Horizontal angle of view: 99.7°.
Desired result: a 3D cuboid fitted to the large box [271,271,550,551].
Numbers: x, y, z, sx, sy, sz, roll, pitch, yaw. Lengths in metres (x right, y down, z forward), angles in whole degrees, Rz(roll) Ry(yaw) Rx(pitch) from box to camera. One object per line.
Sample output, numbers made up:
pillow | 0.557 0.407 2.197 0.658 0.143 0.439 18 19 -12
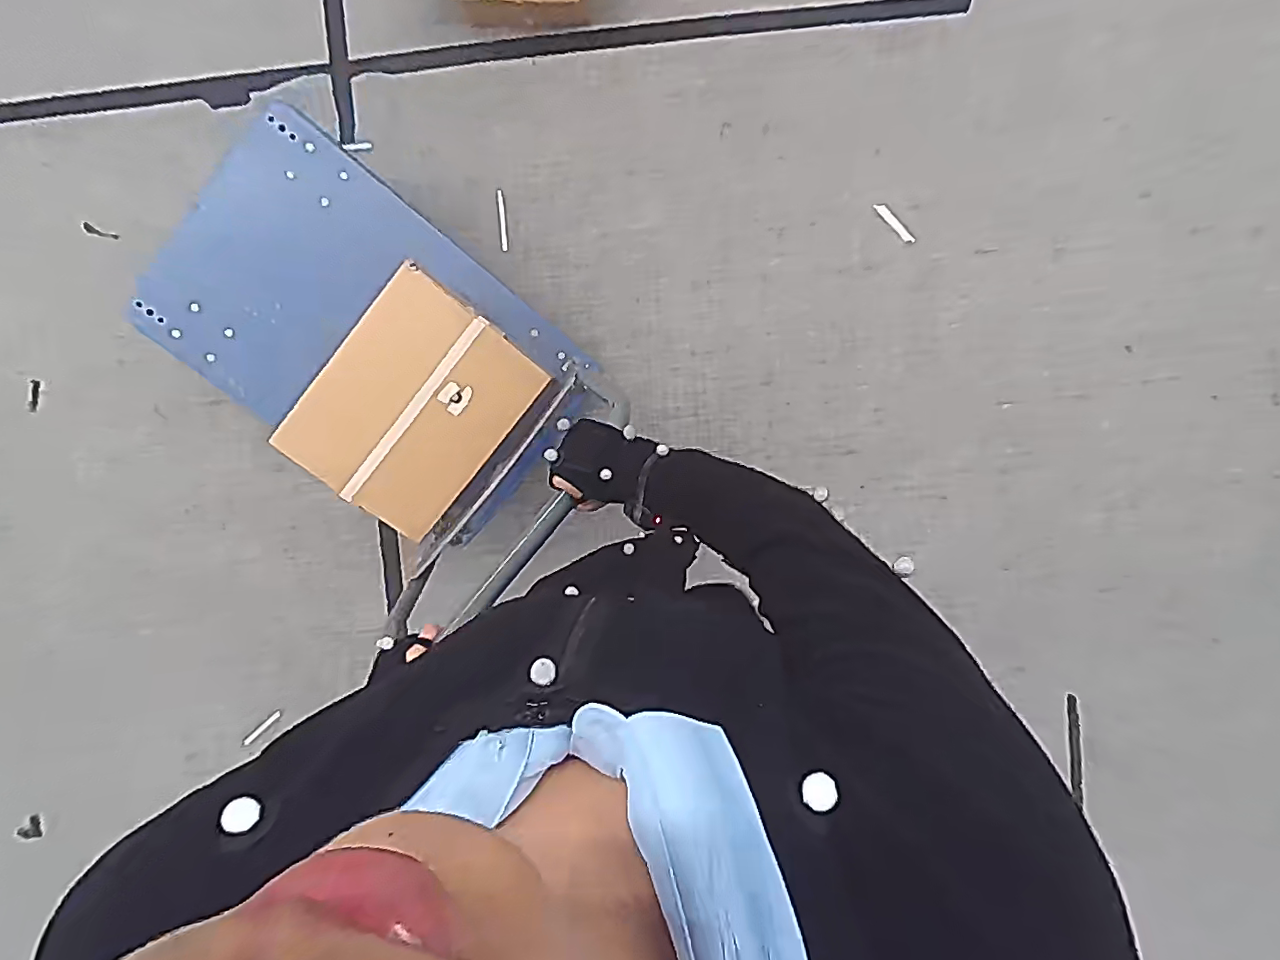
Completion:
large box | -0.425 -0.135 1.100 0.320 0.320 0.408 38 93 -13
